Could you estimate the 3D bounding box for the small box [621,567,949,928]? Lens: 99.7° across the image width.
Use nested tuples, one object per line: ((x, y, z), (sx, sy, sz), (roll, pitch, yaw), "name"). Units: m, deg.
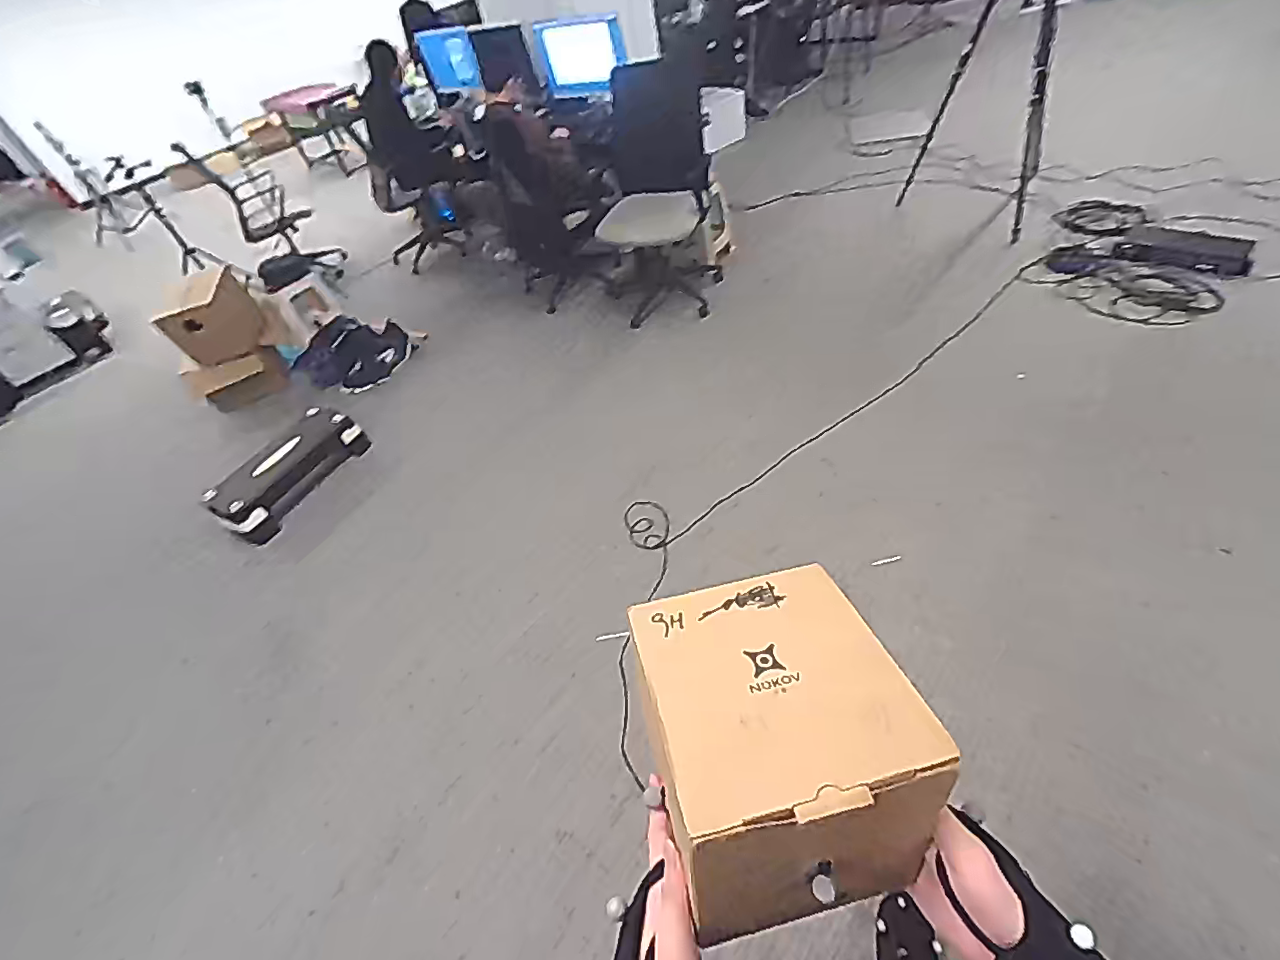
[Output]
((0.087, 0.198, 0.407), (0.168, 0.176, 0.179), (-11, 35, -7), "small box")
